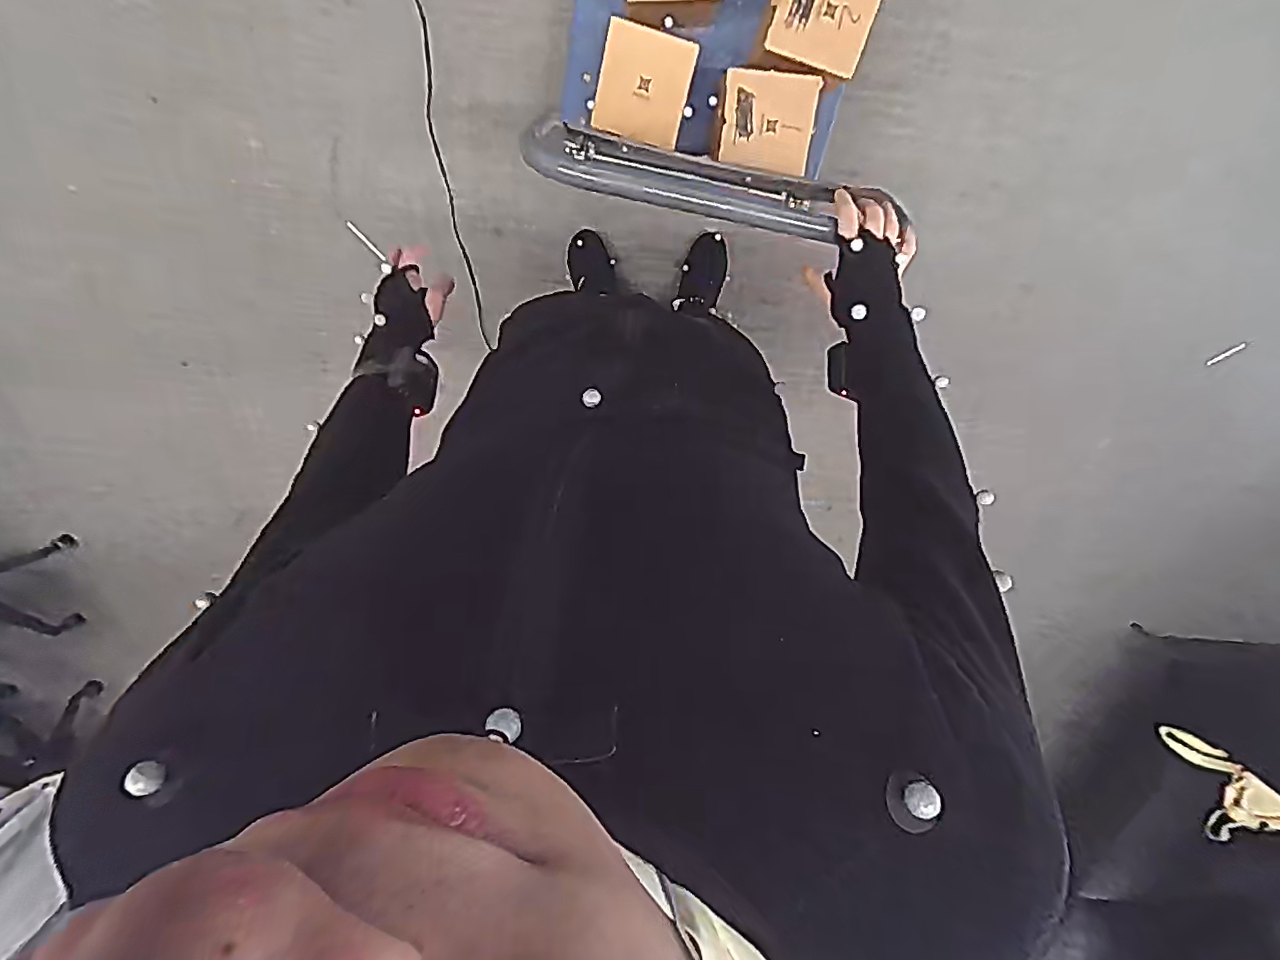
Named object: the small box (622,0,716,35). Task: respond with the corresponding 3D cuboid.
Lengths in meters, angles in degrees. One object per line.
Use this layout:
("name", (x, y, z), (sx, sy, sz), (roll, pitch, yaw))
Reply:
("small box", (0.051, -0.935, 0.979), (0.168, 0.176, 0.179), (-1, 116, -1))

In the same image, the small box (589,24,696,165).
("small box", (-0.001, -0.749, 1.072), (0.168, 0.176, 0.179), (13, 116, -8))
